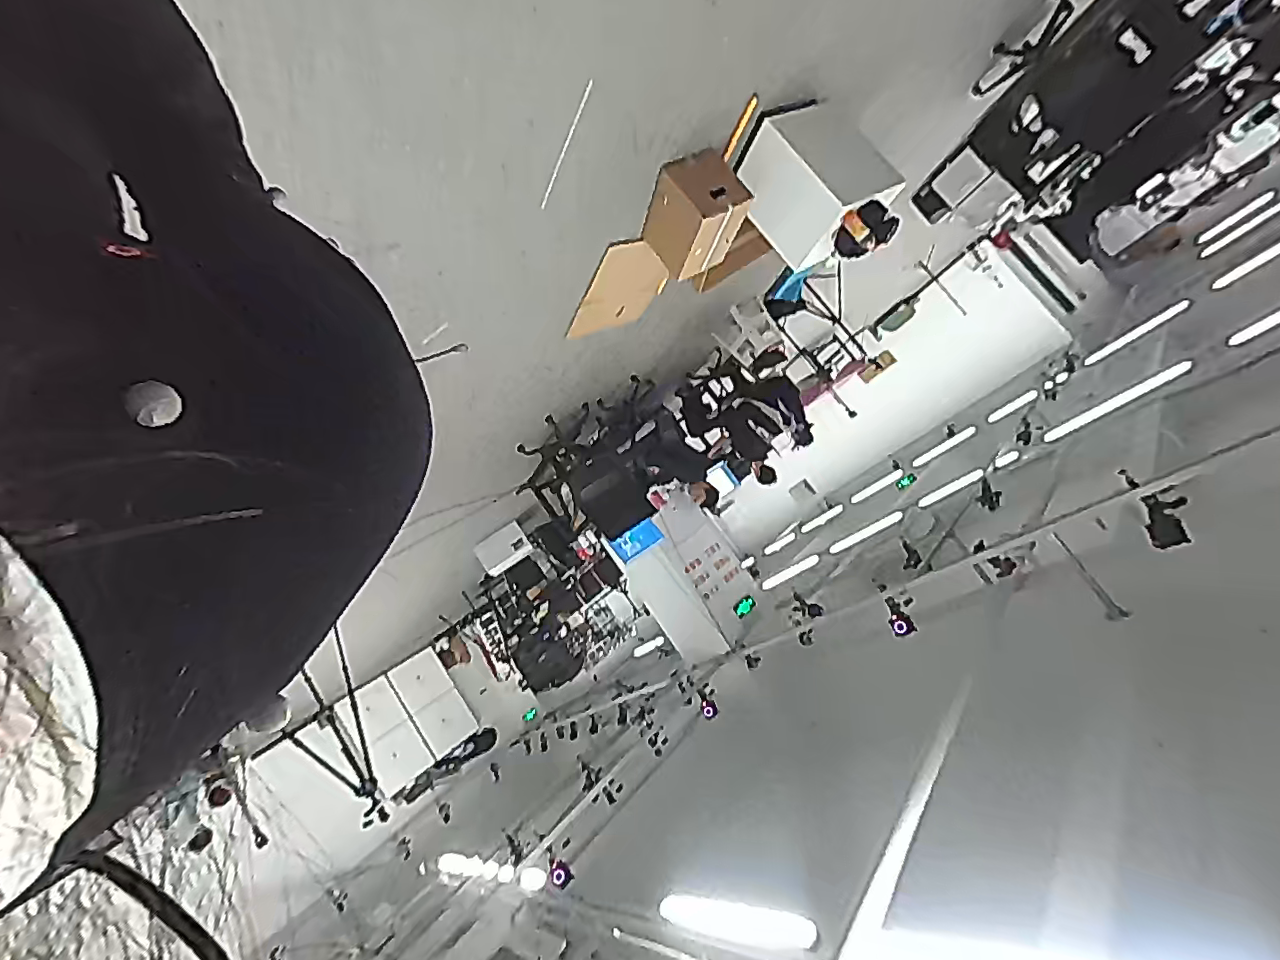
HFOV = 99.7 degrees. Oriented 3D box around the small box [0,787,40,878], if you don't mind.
[{"bbox_3d":[-1.516,0.830,1.217,0.168,0.176,0.179,-43,168,38],"label":"small box"}]
